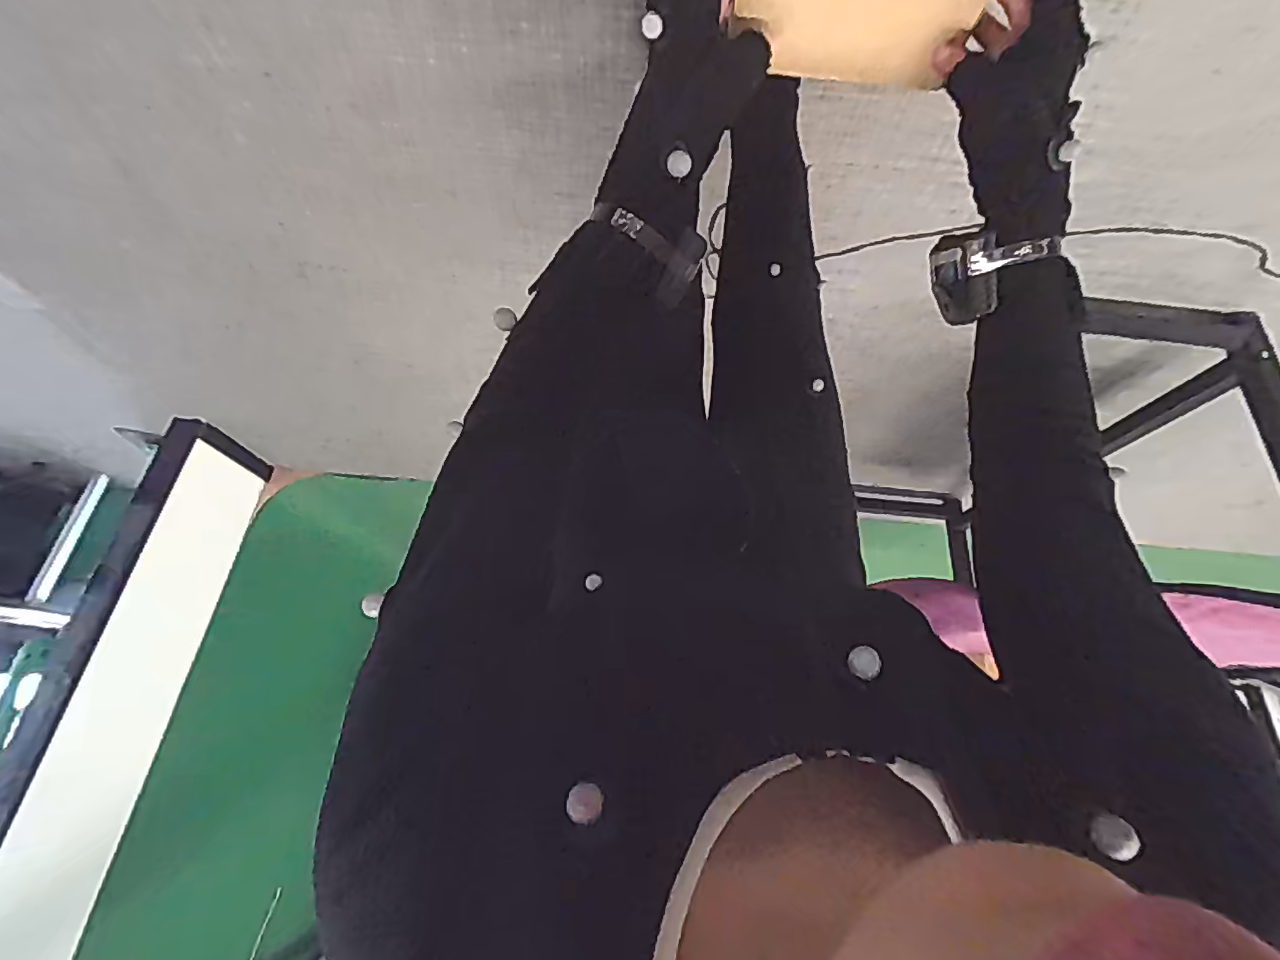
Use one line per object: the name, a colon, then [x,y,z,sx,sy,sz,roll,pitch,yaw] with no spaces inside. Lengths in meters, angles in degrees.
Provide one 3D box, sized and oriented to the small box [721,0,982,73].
small box: [0.154,-0.422,0.365,0.179,0.176,0.168,3,157,-4]
